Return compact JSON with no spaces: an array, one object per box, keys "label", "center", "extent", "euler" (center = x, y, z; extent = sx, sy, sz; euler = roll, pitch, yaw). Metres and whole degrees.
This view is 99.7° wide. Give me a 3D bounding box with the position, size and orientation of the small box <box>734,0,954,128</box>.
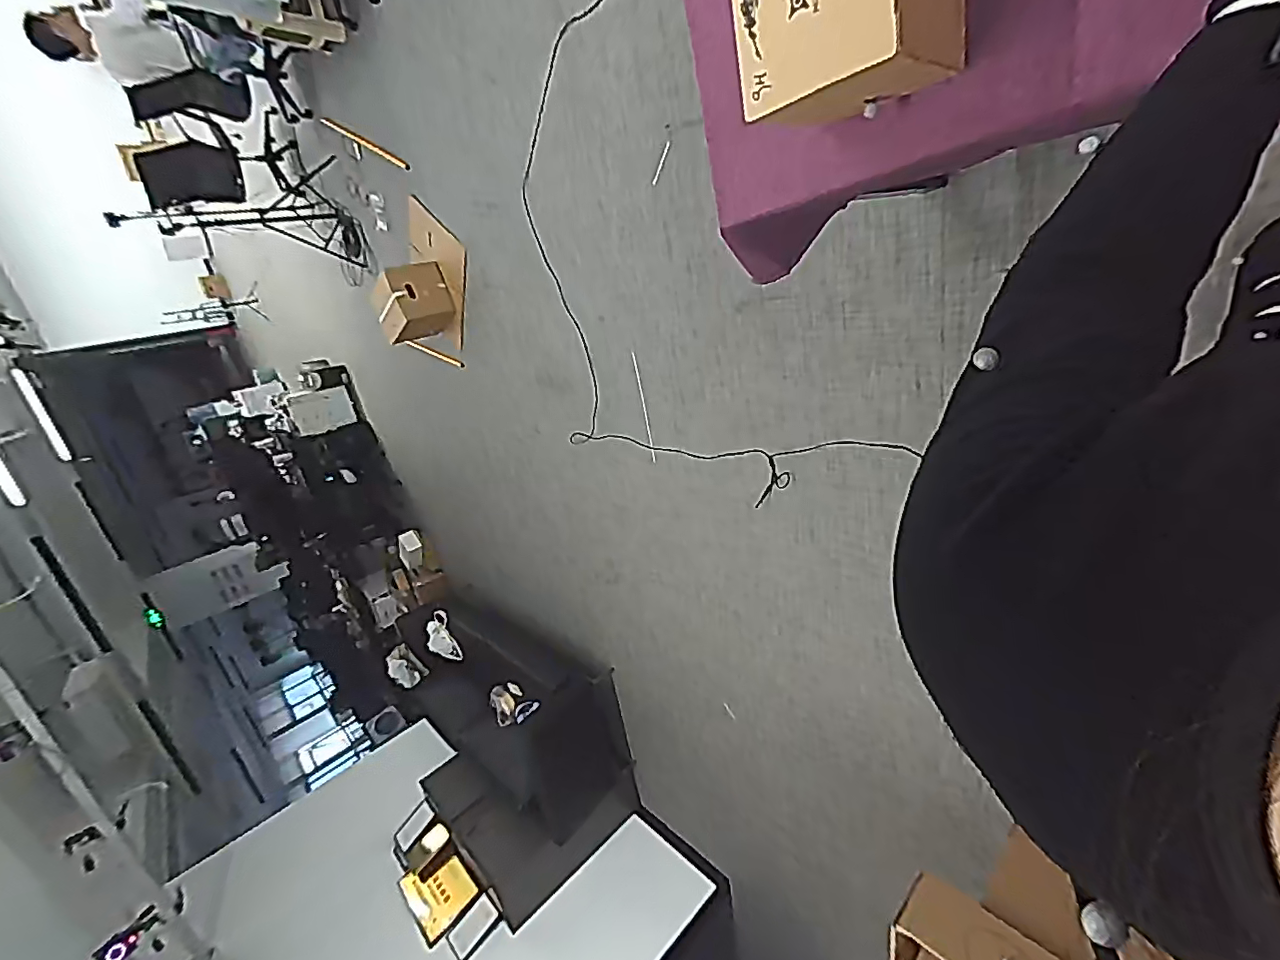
[{"label":"small box","center":[0.225,-0.504,0.586],"extent":[0.179,0.176,0.168],"euler":[10,118,47]}]
